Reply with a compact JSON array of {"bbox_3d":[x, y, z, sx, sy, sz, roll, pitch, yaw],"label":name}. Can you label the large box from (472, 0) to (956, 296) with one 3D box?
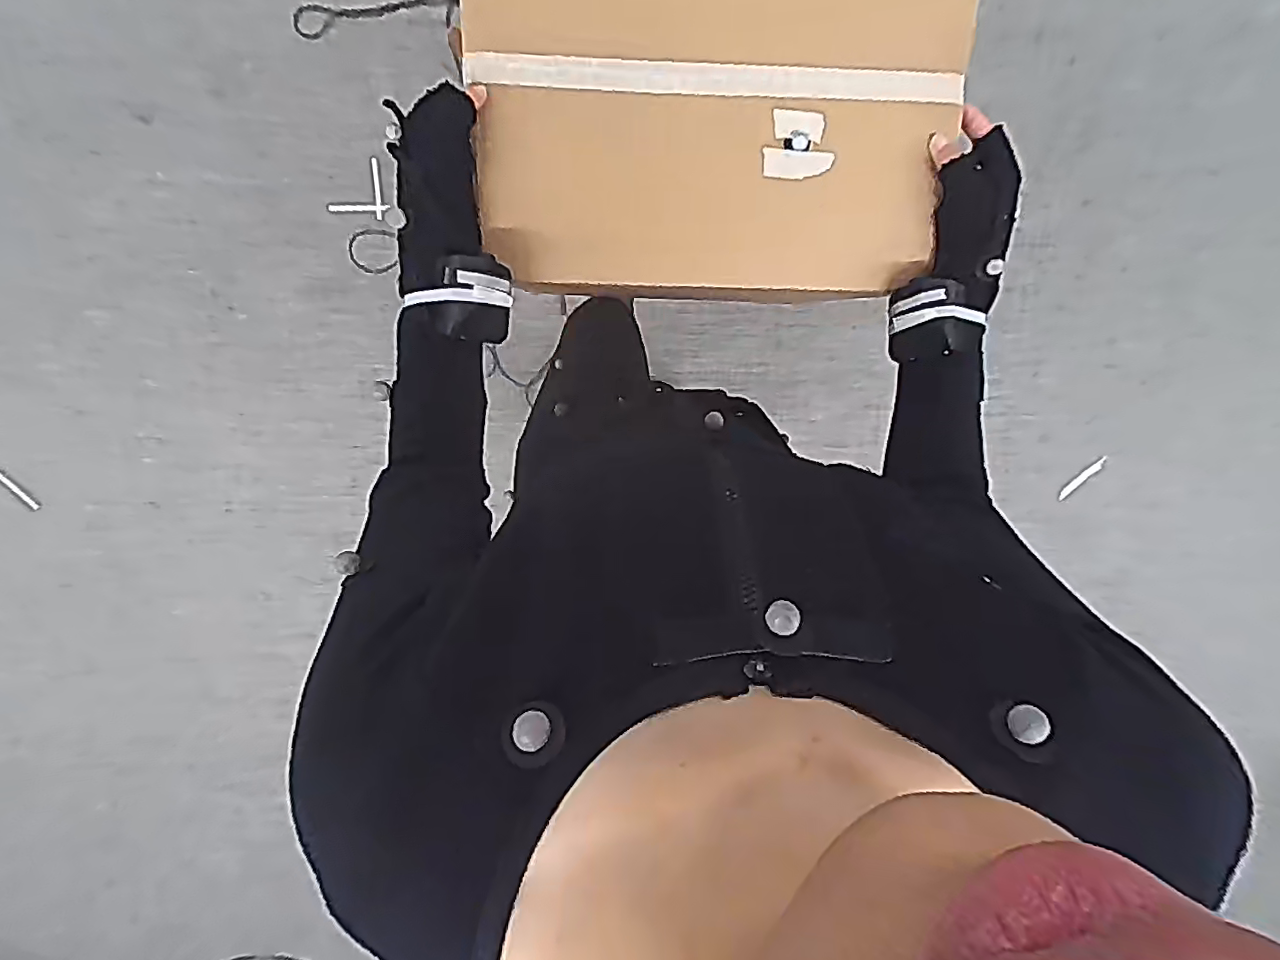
[{"bbox_3d":[0.053,-0.375,0.599,0.408,0.320,0.320,0,107,-4],"label":"large box"}]
